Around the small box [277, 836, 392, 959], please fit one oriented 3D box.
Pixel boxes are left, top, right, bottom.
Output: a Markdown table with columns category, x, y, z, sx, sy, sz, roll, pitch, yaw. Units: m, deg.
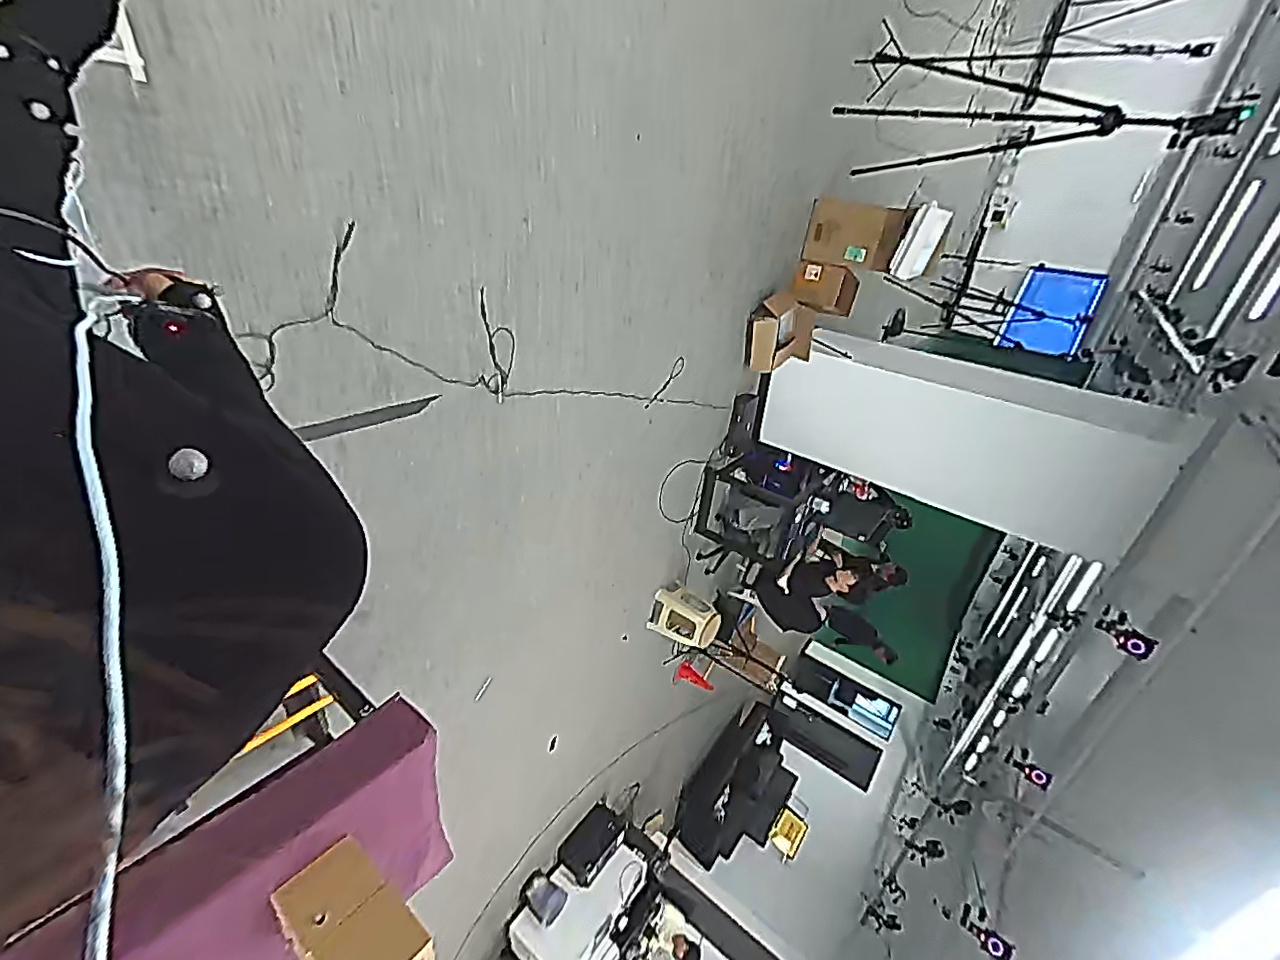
| category | x | y | z | sx | sy | sz | roll | pitch | yaw |
| --- | --- | --- | --- | --- | --- | --- | --- | --- | --- |
| small box | -0.705 | 0.985 | 1.246 | 0.179 | 0.176 | 0.168 | -26 | 133 | -48 |
